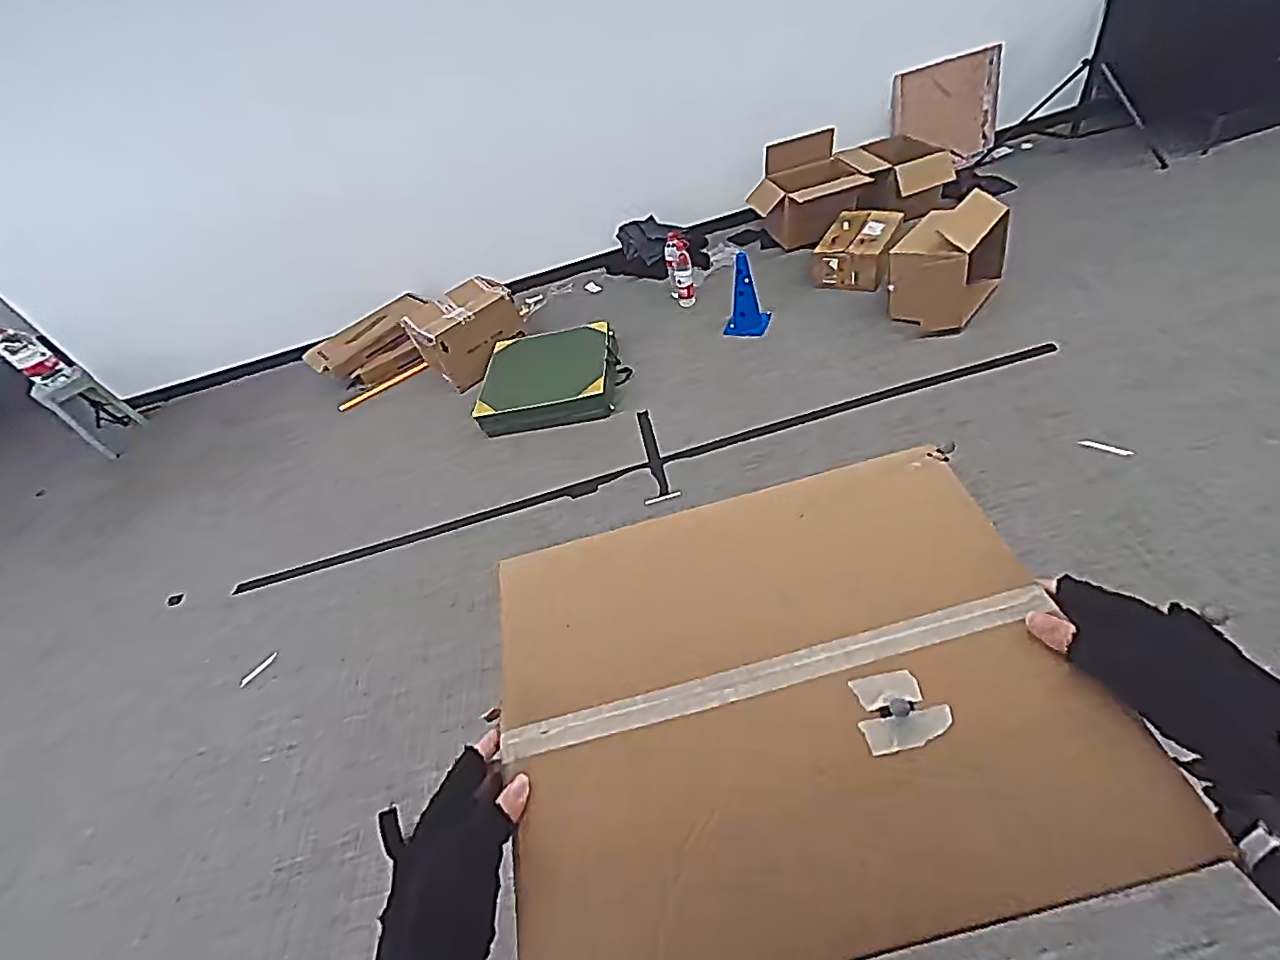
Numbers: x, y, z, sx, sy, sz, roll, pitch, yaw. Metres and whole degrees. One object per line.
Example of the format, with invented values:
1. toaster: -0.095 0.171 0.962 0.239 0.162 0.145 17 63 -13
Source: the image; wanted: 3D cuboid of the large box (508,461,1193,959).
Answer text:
1. large box: 0.125 0.240 0.520 0.408 0.320 0.320 -16 52 0
